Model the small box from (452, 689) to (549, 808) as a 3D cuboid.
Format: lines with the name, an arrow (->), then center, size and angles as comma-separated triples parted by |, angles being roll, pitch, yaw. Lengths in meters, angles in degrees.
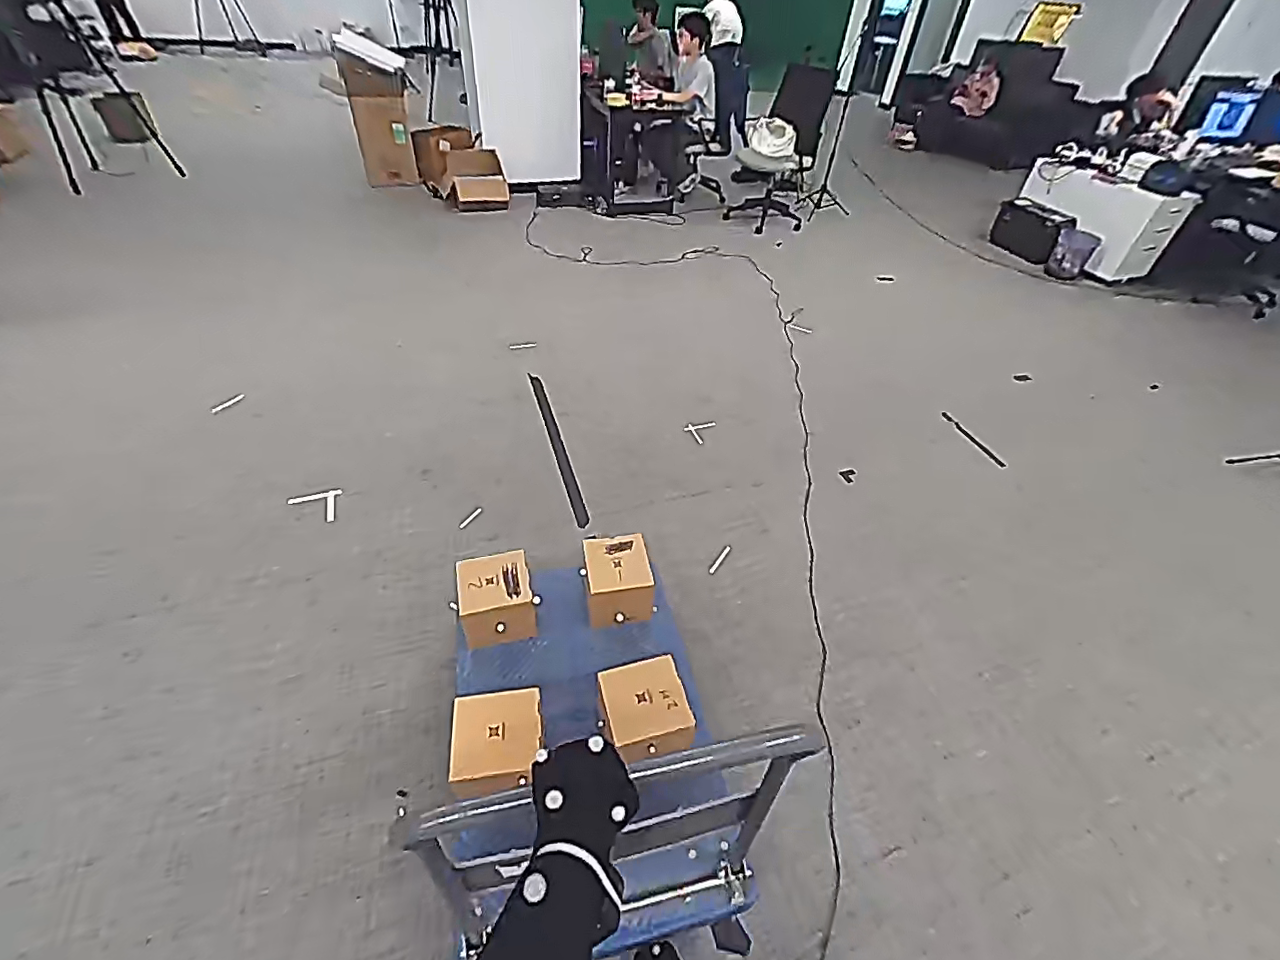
small box -> -0.288, 0.569, 1.143 | 0.179, 0.176, 0.168 | -4, 43, -11

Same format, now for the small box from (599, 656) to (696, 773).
small box -> 0.011, 0.526, 1.210 | 0.179, 0.176, 0.168 | -9, 45, -14

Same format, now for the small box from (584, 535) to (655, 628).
small box -> -0.061, 0.276, 1.471 | 0.168, 0.176, 0.179 | -6, 45, -11
